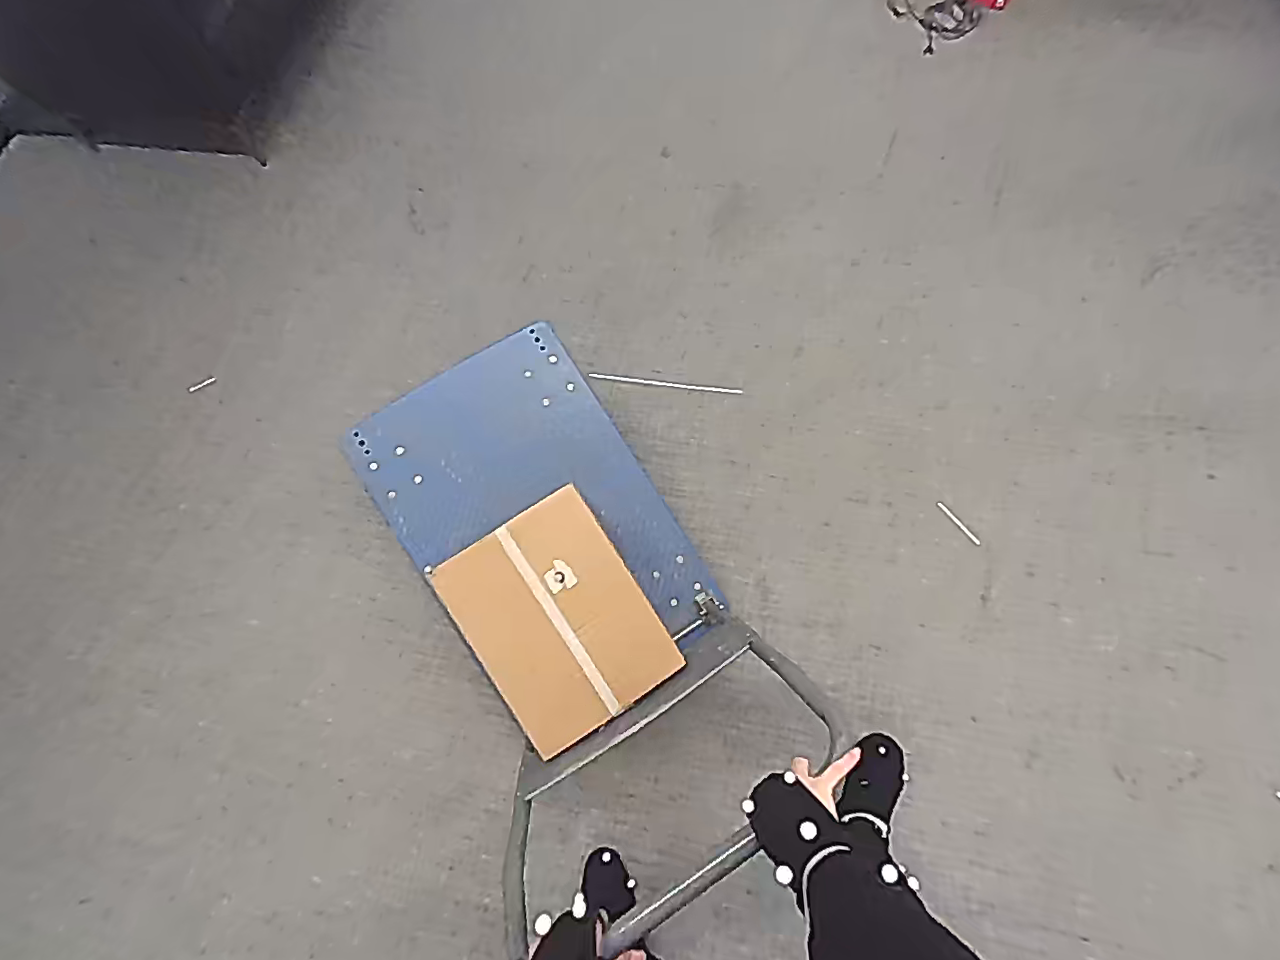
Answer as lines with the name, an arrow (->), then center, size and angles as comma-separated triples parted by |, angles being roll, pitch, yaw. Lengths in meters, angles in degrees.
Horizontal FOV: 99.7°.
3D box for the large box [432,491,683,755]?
large box -> -0.161, 0.276, 1.159 | 0.320, 0.320, 0.408 | -33, 89, -7
